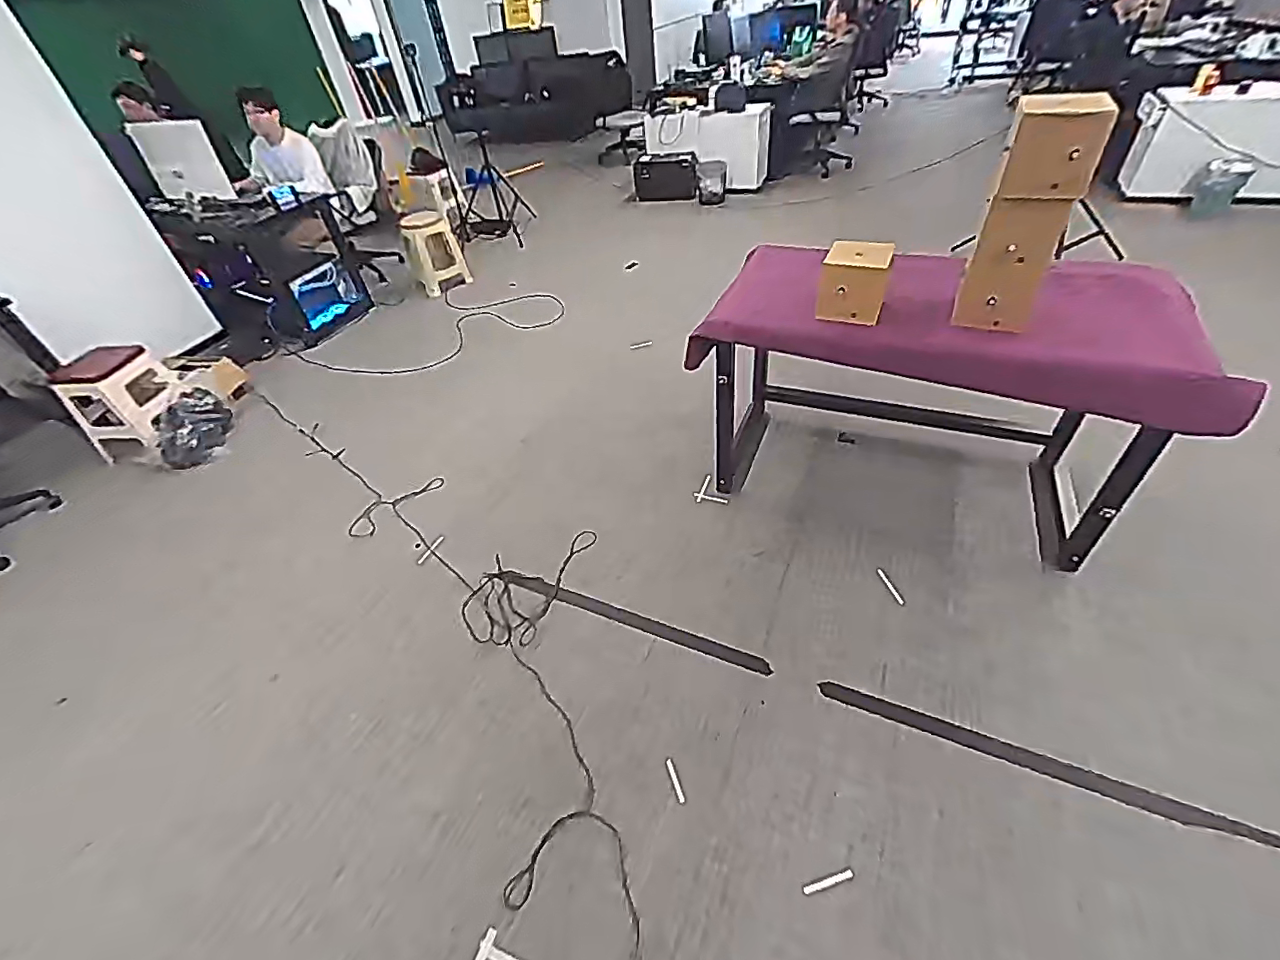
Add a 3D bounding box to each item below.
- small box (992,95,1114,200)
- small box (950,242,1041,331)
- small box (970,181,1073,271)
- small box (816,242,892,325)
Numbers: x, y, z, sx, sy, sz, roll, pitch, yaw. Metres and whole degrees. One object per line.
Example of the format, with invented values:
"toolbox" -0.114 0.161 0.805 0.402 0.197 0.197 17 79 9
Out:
"small box" 0.912 -0.742 1.211 0.168 0.176 0.179 13 46 20
"small box" 0.947 -0.517 1.447 0.168 0.176 0.179 16 47 23
"small box" 0.935 -0.638 1.336 0.168 0.176 0.179 15 48 23
"small box" 0.607 -0.560 1.543 0.168 0.176 0.179 14 46 21
